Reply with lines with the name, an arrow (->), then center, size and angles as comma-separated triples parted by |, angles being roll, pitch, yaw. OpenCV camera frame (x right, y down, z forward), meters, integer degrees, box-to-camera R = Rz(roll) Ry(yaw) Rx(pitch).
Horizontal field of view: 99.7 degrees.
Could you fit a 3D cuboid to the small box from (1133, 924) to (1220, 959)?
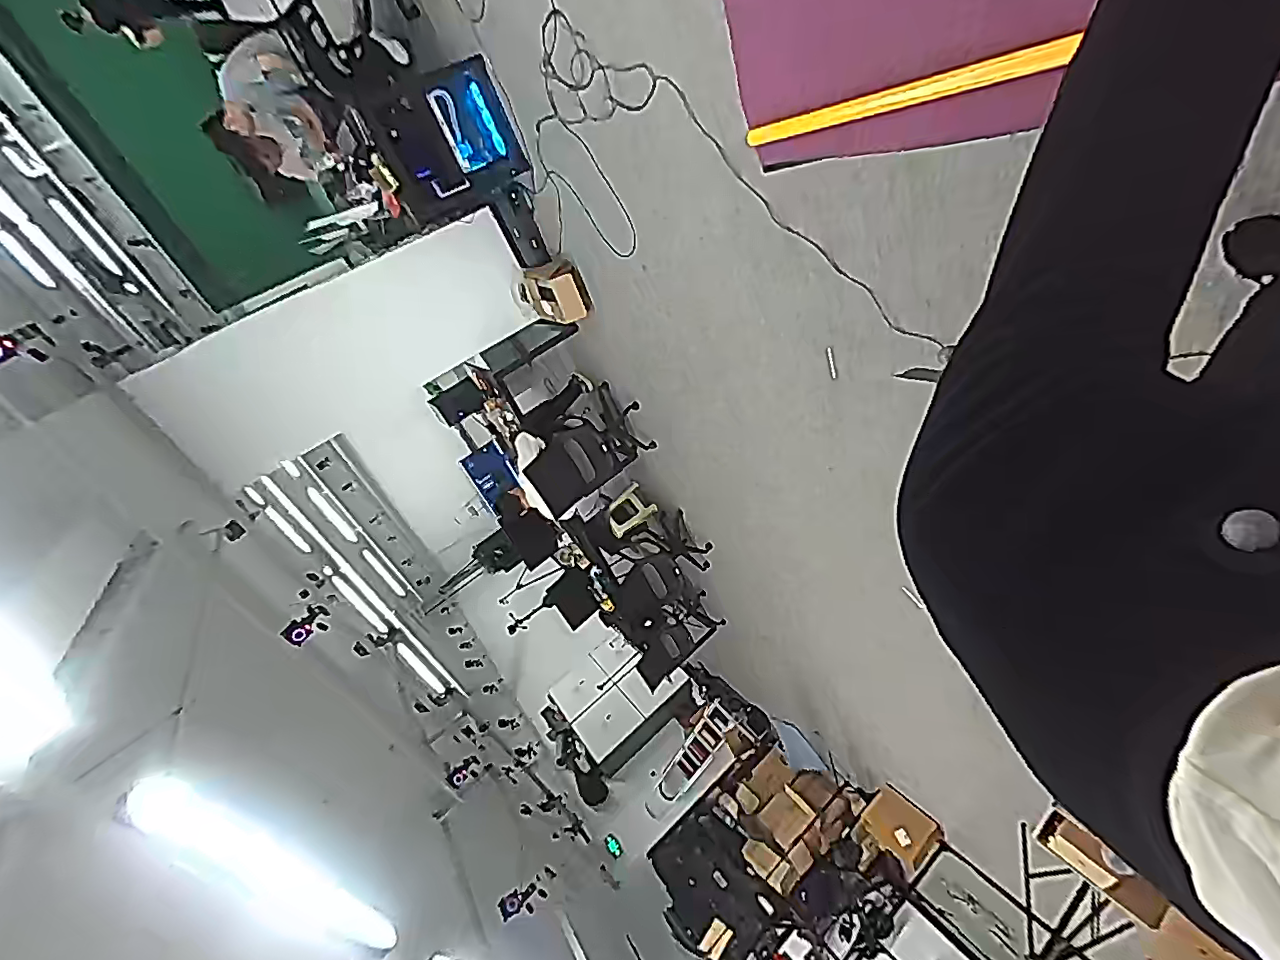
small box -> 1.621, 1.471, 1.612 | 0.168, 0.176, 0.179 | 38, 158, 38
